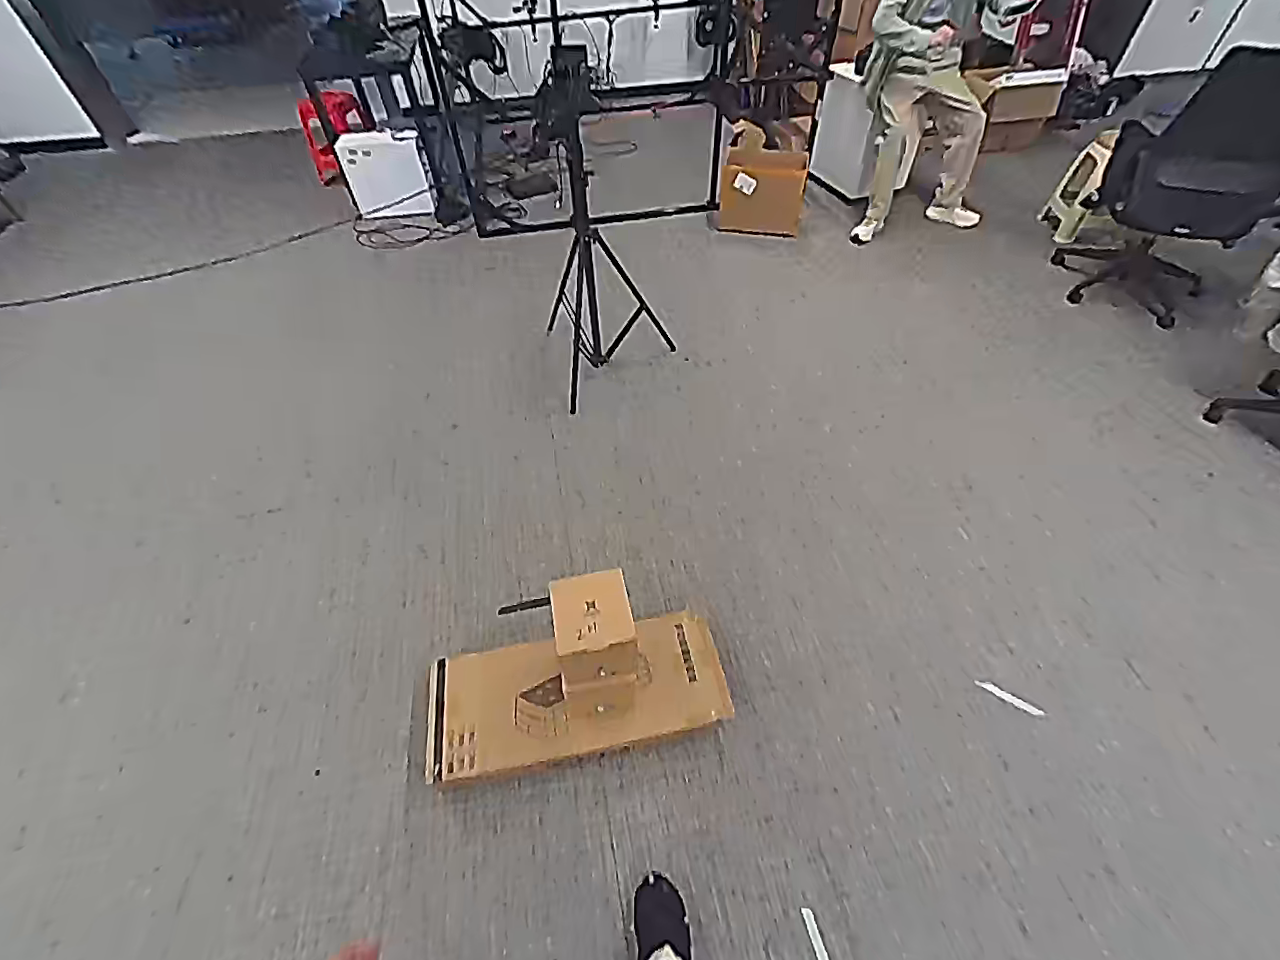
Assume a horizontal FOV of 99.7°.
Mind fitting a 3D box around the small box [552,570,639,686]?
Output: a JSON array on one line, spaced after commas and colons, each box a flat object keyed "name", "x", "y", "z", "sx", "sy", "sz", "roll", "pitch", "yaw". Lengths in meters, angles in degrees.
[{"name": "small box", "x": -0.099, "y": 0.331, "z": 1.206, "sx": 0.168, "sy": 0.176, "sz": 0.179, "roll": -11, "pitch": 49, "yaw": -6}]

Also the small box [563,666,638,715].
[{"name": "small box", "x": -0.097, "y": 0.451, "z": 1.321, "sx": 0.168, "sy": 0.176, "sz": 0.179, "roll": -7, "pitch": 50, "yaw": -4}]
